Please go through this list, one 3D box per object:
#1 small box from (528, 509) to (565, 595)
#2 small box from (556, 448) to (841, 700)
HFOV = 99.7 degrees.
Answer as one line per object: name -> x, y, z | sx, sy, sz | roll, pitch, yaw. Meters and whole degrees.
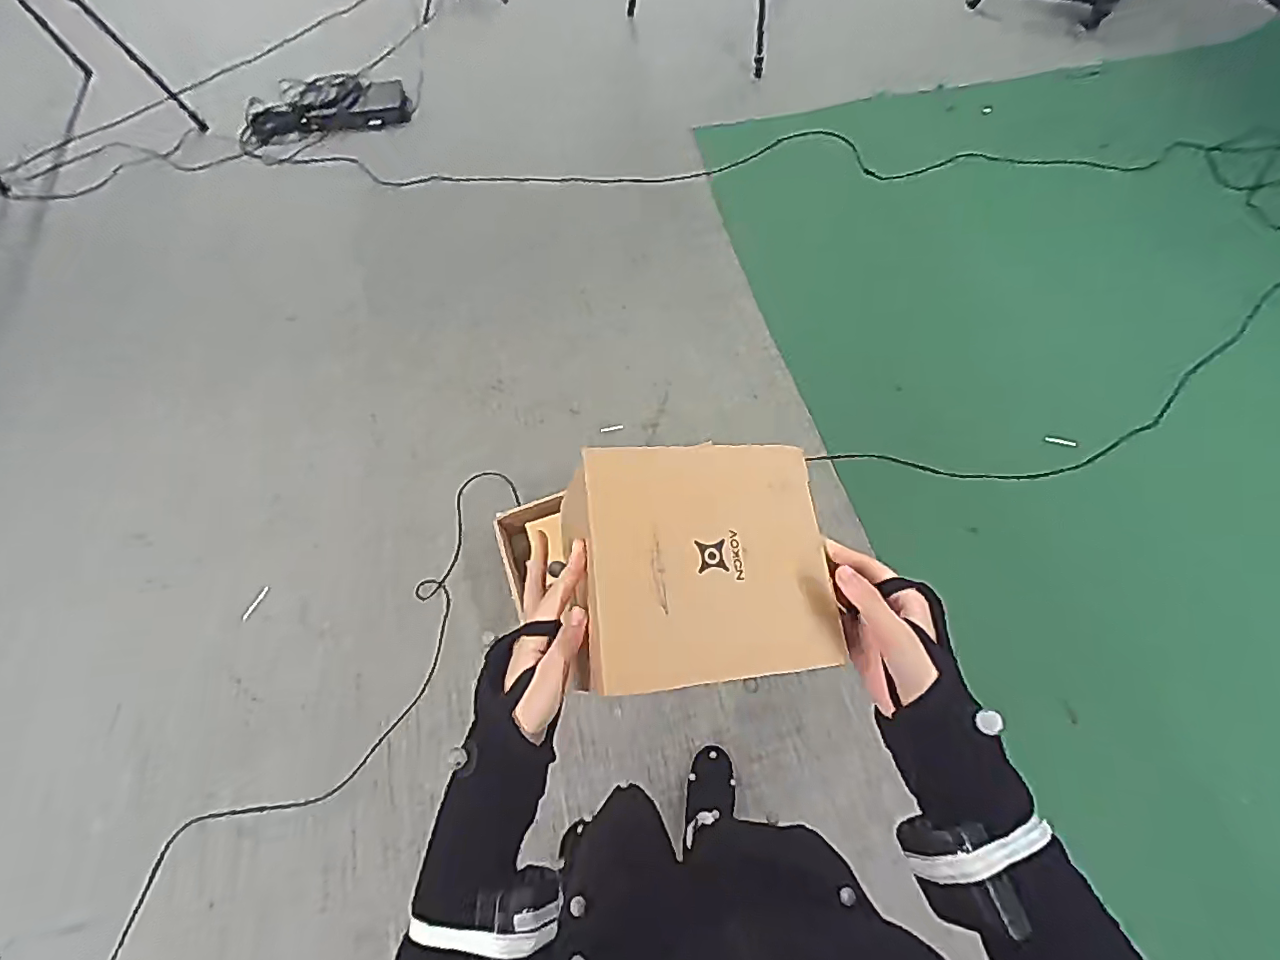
small box -> -0.165, 0.176, 1.370 | 0.179, 0.176, 0.168 | -18, 67, -8
small box -> 0.030, 0.080, 0.451 | 0.179, 0.176, 0.168 | -3, 72, -15
